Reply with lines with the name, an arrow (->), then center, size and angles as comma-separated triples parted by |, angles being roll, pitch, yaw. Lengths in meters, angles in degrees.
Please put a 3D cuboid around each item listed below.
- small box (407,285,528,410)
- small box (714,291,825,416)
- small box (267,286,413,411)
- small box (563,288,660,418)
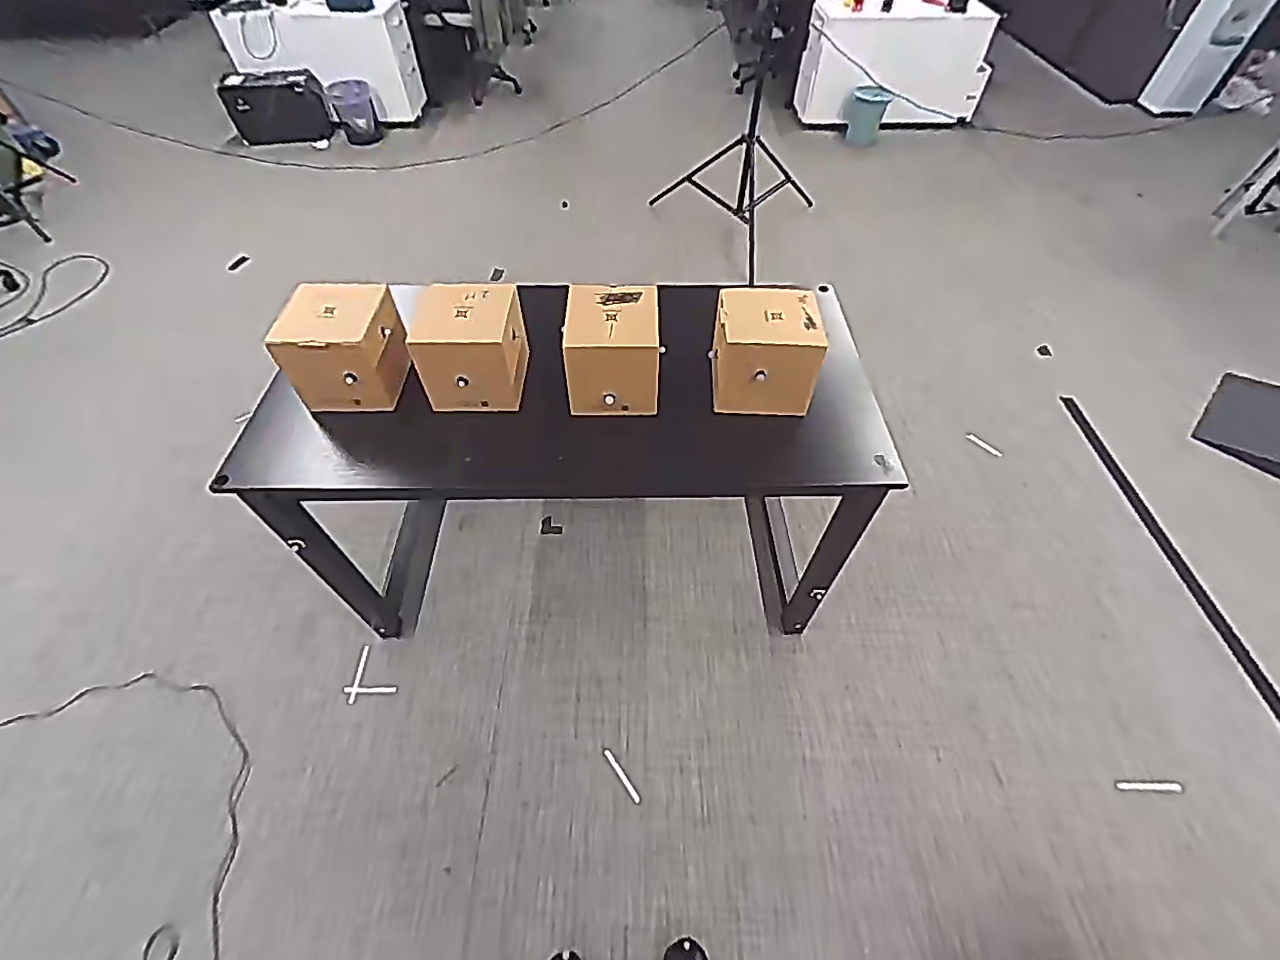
small box -> -0.314, -0.247, 1.027 | 0.168, 0.176, 0.179 | 0, 52, -1
small box -> 0.232, -0.237, 1.021 | 0.179, 0.176, 0.168 | 2, 52, 2
small box -> -0.554, -0.247, 1.028 | 0.168, 0.176, 0.179 | 0, 52, -2
small box -> -0.049, -0.239, 1.023 | 0.168, 0.176, 0.179 | 0, 53, 0
